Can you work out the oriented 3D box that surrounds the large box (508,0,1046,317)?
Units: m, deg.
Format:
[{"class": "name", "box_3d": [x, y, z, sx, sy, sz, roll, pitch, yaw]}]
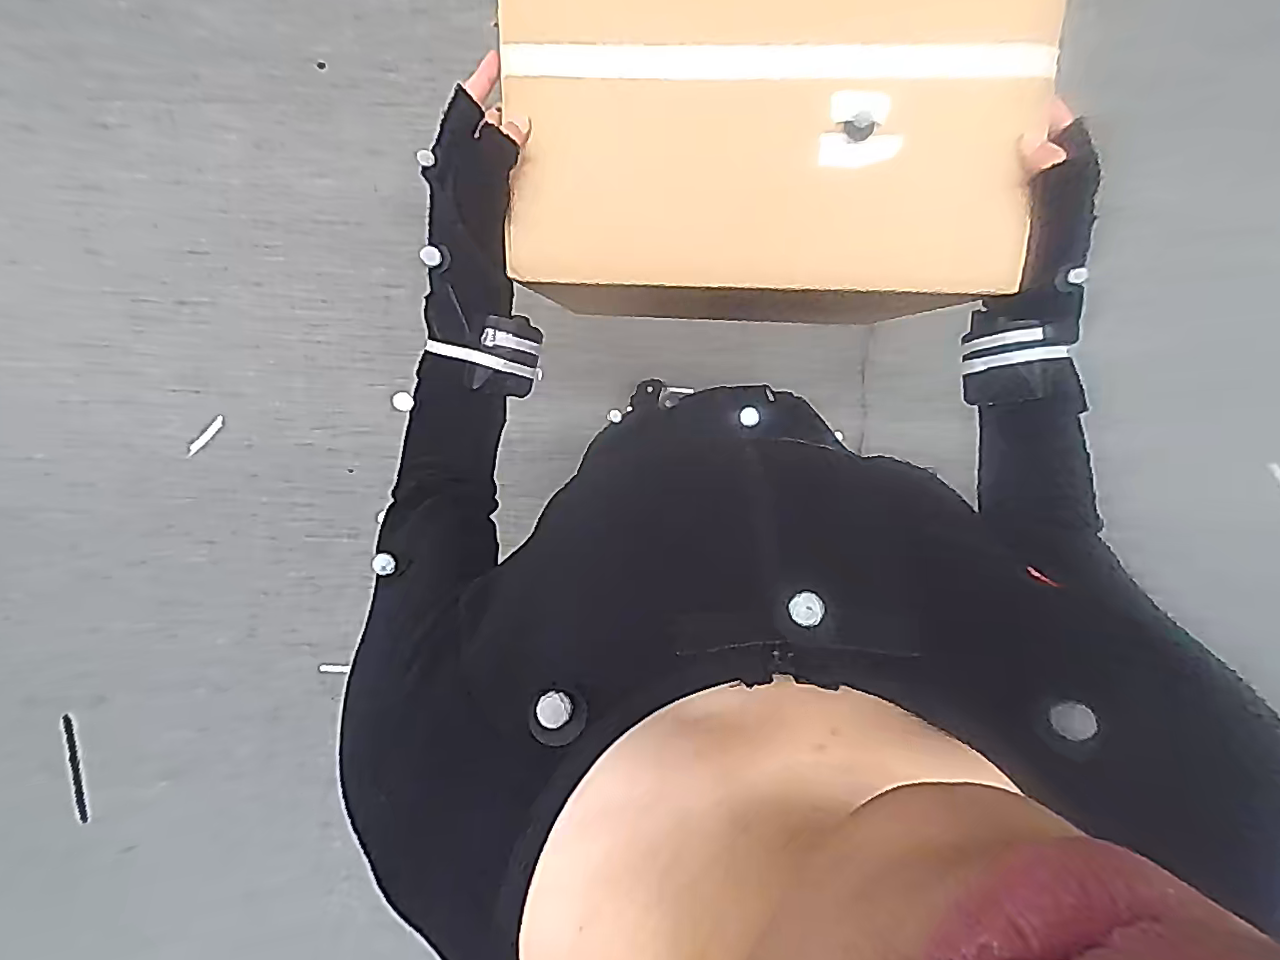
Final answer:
[{"class": "large box", "box_3d": [0.101, -0.344, 0.557, 0.408, 0.320, 0.320, 2, 102, 2]}]
